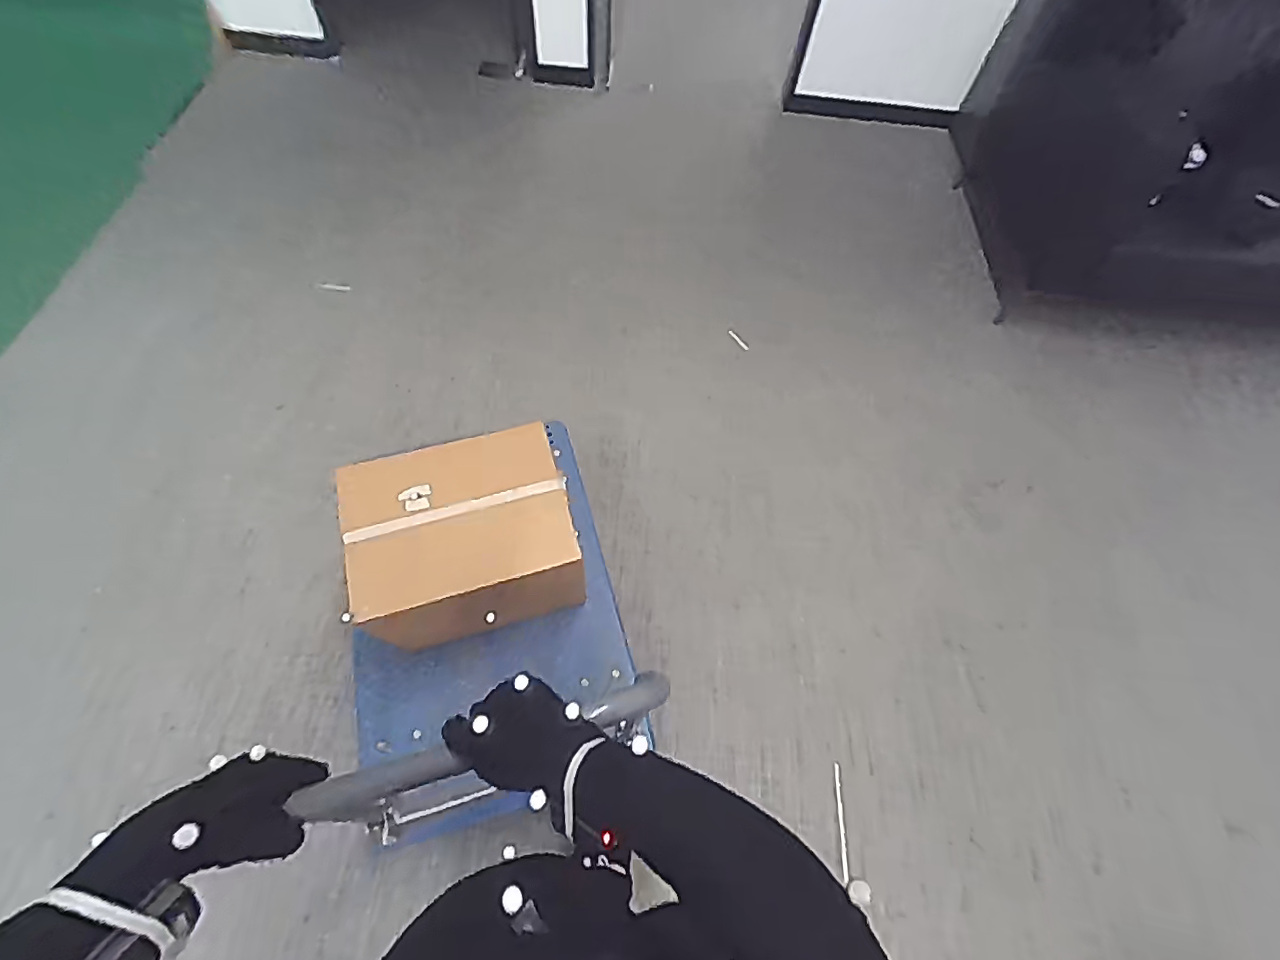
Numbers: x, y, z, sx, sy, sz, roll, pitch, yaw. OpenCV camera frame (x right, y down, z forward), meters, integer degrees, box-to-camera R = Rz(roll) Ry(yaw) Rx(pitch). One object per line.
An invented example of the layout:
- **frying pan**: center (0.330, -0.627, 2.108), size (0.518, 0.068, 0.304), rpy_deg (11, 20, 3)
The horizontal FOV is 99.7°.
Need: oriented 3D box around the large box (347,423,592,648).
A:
- **large box**: center (-0.339, 0.127, 1.155), size (0.408, 0.320, 0.320), rpy_deg (-15, 65, -11)
